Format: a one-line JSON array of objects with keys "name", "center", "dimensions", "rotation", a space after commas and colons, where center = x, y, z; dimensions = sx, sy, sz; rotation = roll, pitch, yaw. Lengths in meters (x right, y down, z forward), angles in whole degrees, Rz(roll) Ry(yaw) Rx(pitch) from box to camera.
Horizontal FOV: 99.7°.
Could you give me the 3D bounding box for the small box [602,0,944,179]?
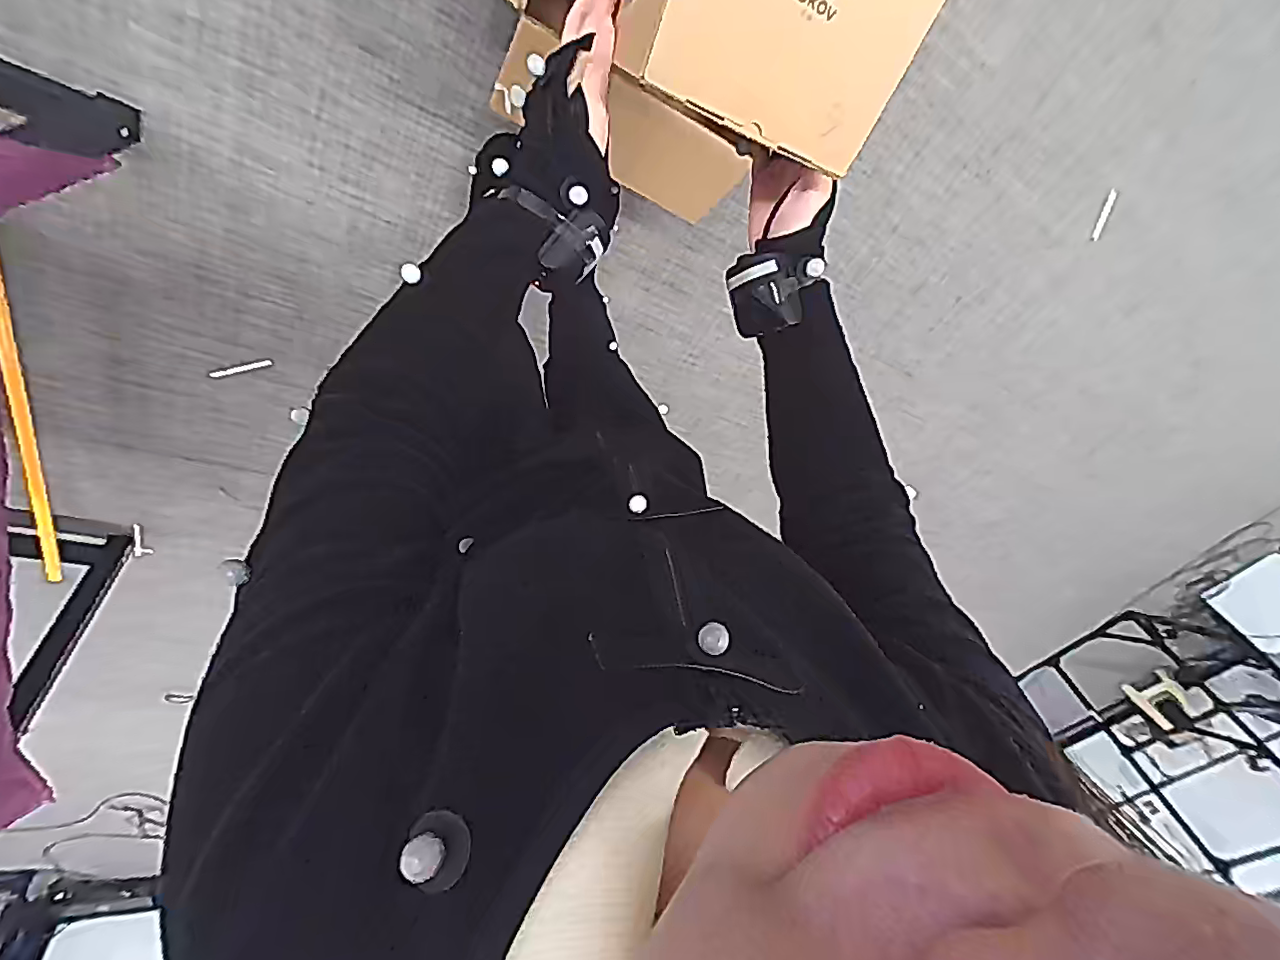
[{"name": "small box", "center": [0.084, -0.343, 0.360], "dimensions": [0.168, 0.176, 0.179], "rotation": [8, 129, -26]}]
